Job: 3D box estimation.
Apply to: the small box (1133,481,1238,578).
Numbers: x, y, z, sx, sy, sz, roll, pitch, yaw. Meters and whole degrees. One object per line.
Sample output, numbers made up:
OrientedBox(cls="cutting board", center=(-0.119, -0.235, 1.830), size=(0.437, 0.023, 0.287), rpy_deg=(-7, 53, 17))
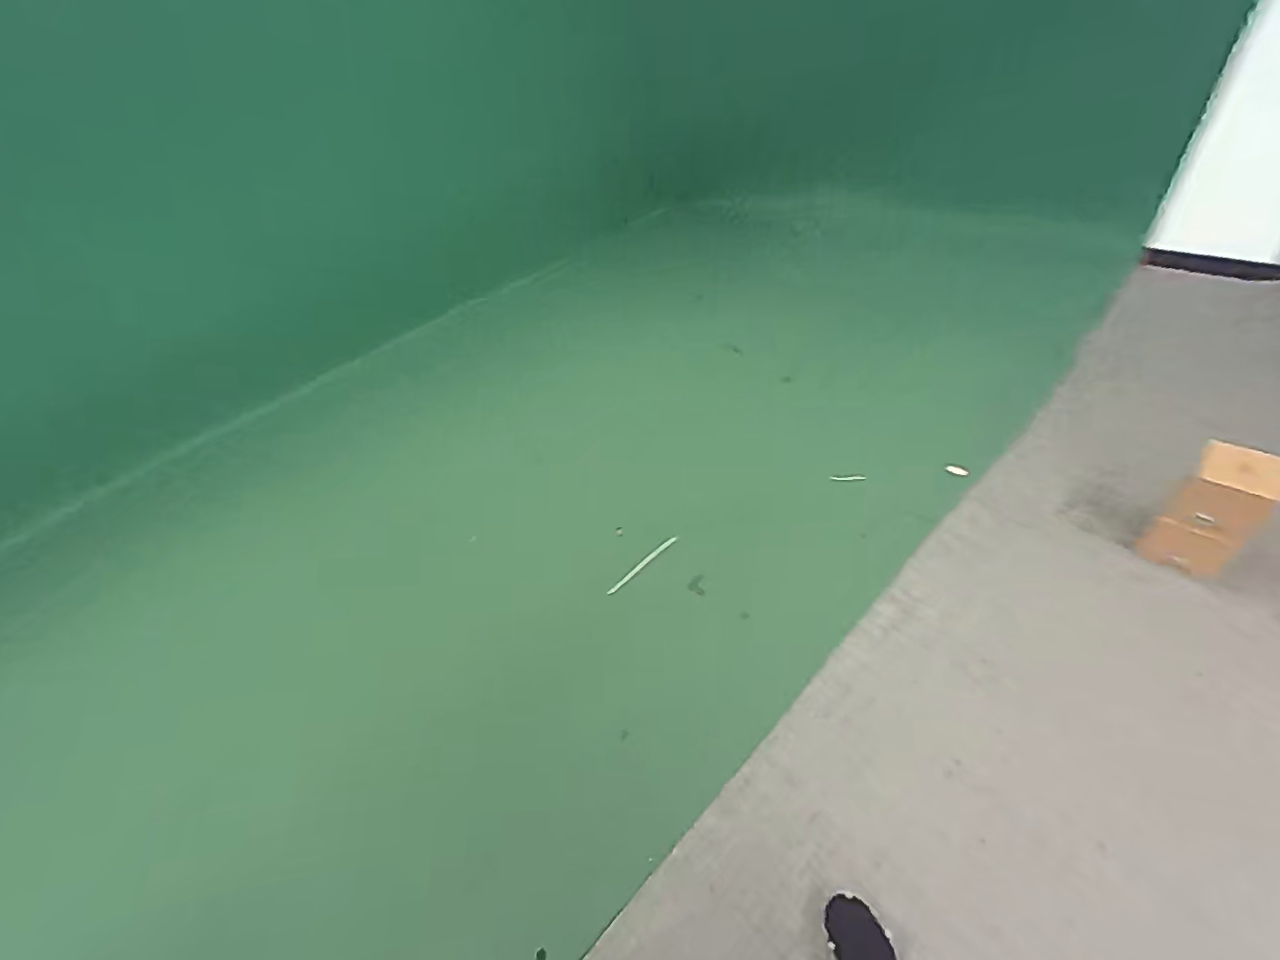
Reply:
OrientedBox(cls="small box", center=(1.554, 0.142, 1.535), size=(0.168, 0.176, 0.179), rpy_deg=(28, 57, 34))

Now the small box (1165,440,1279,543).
OrientedBox(cls="small box", center=(1.537, 0.031, 1.421), size=(0.168, 0.176, 0.179), rpy_deg=(29, 55, 37))
